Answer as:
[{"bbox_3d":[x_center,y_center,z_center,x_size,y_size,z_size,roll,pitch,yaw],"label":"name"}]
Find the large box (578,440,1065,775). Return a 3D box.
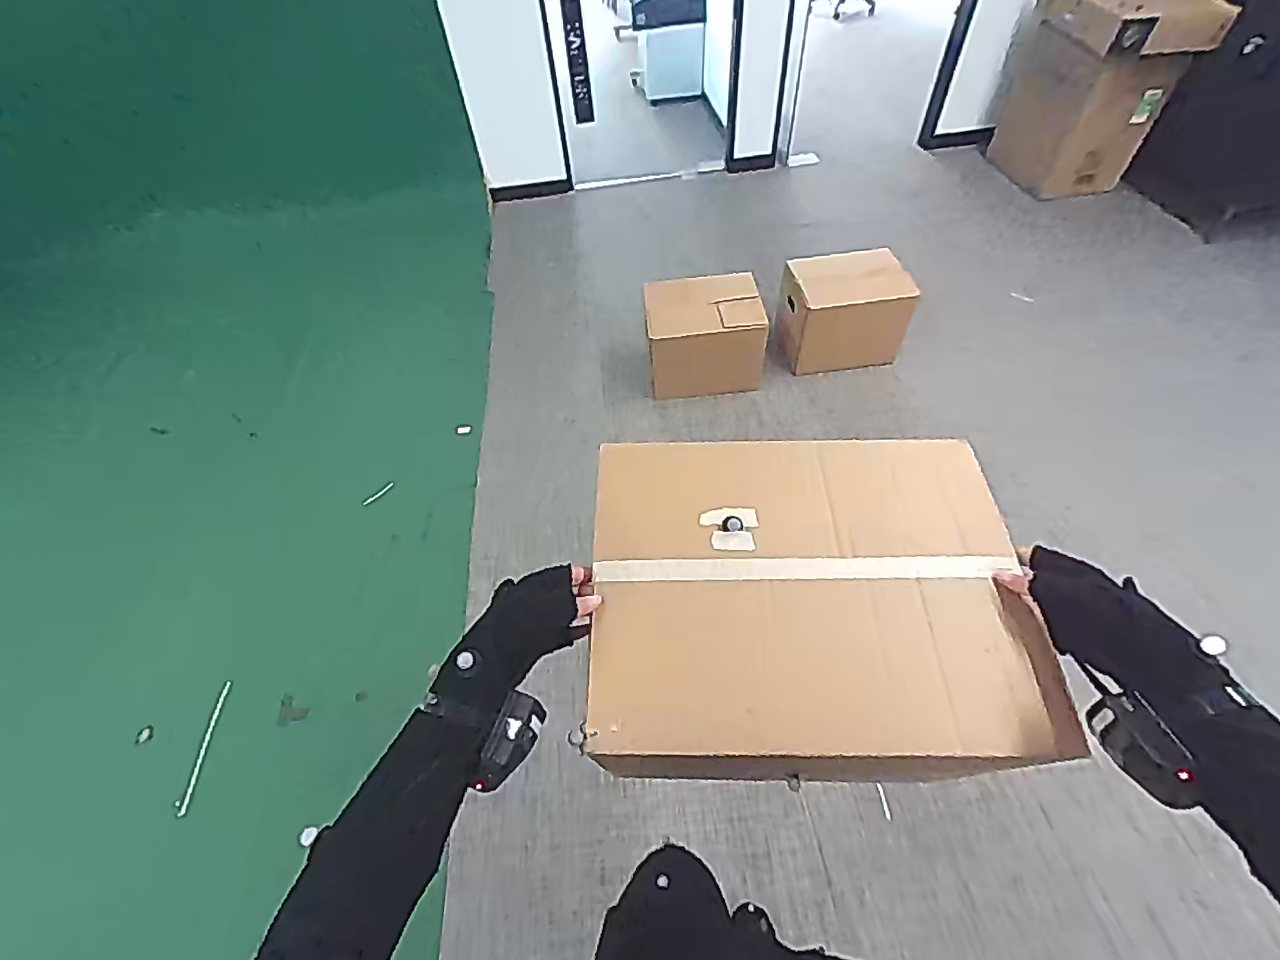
[{"bbox_3d":[0.155,0.170,0.645,0.408,0.320,0.320,-1,57,3],"label":"large box"}]
